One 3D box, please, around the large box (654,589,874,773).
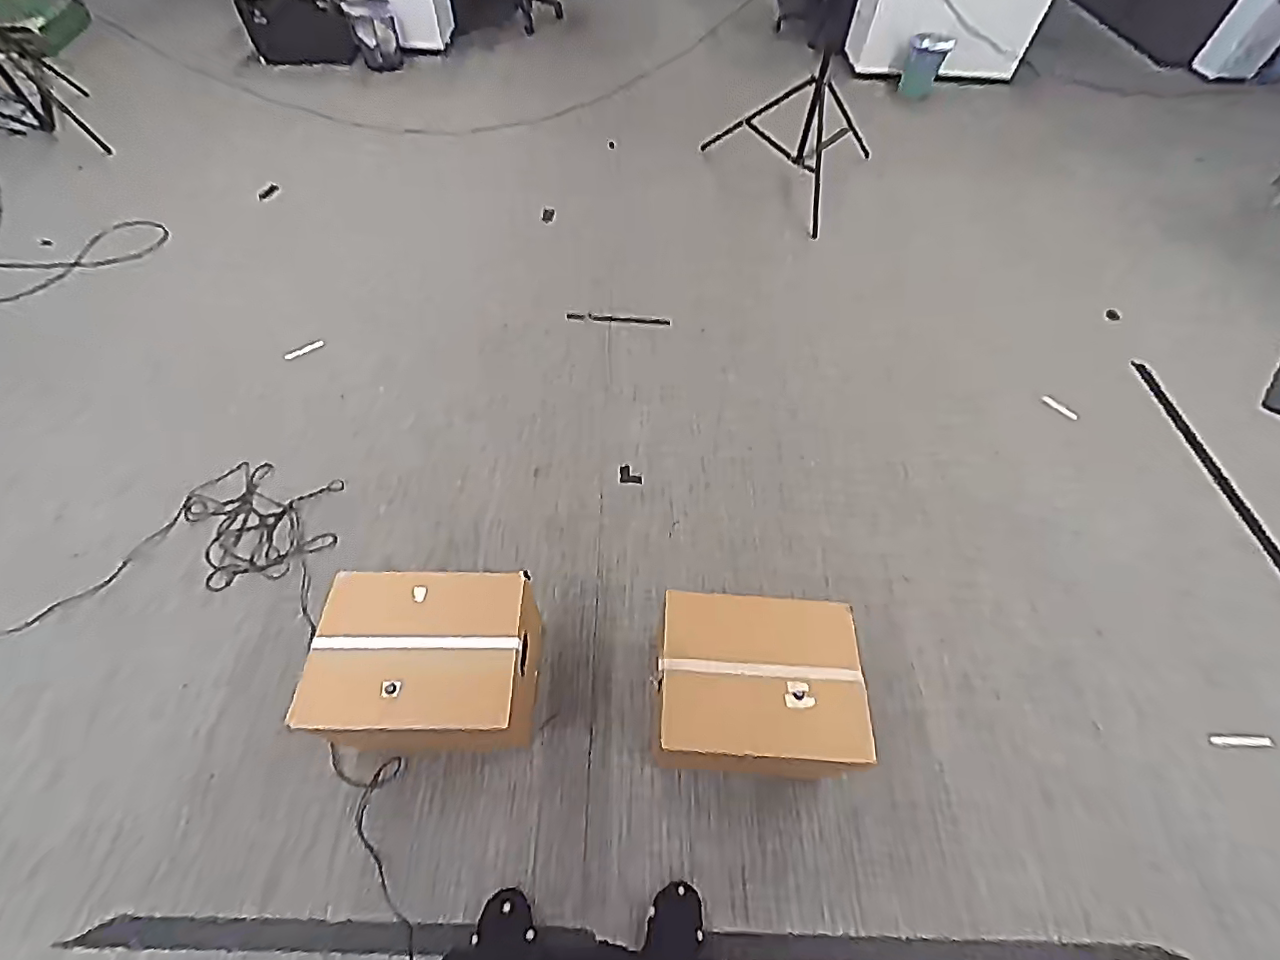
[{"bbox_3d":[0.242,0.461,1.219,0.408,0.320,0.320,5,56,-1],"label":"large box"}]
